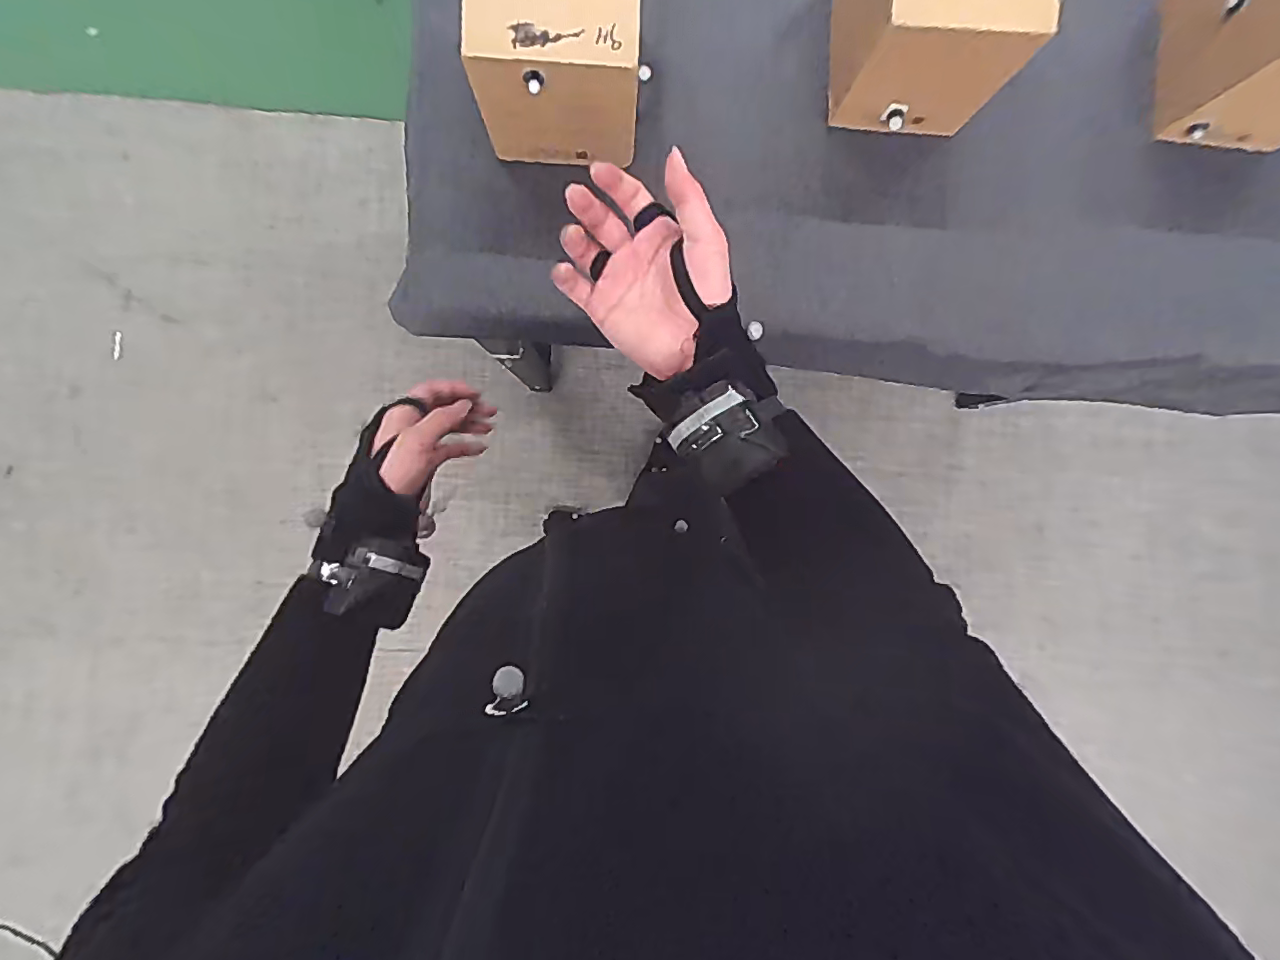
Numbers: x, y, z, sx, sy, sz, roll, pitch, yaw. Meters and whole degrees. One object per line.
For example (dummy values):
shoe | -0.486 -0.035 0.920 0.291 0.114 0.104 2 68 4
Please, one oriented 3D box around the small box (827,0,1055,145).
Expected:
small box | 0.320 -0.513 0.603 0.168 0.176 0.179 1 92 -2

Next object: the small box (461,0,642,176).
small box | -0.084 -0.464 0.580 0.168 0.176 0.179 2 90 -3

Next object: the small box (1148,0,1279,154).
small box | 0.740 -0.509 0.619 0.168 0.176 0.179 4 90 -3
